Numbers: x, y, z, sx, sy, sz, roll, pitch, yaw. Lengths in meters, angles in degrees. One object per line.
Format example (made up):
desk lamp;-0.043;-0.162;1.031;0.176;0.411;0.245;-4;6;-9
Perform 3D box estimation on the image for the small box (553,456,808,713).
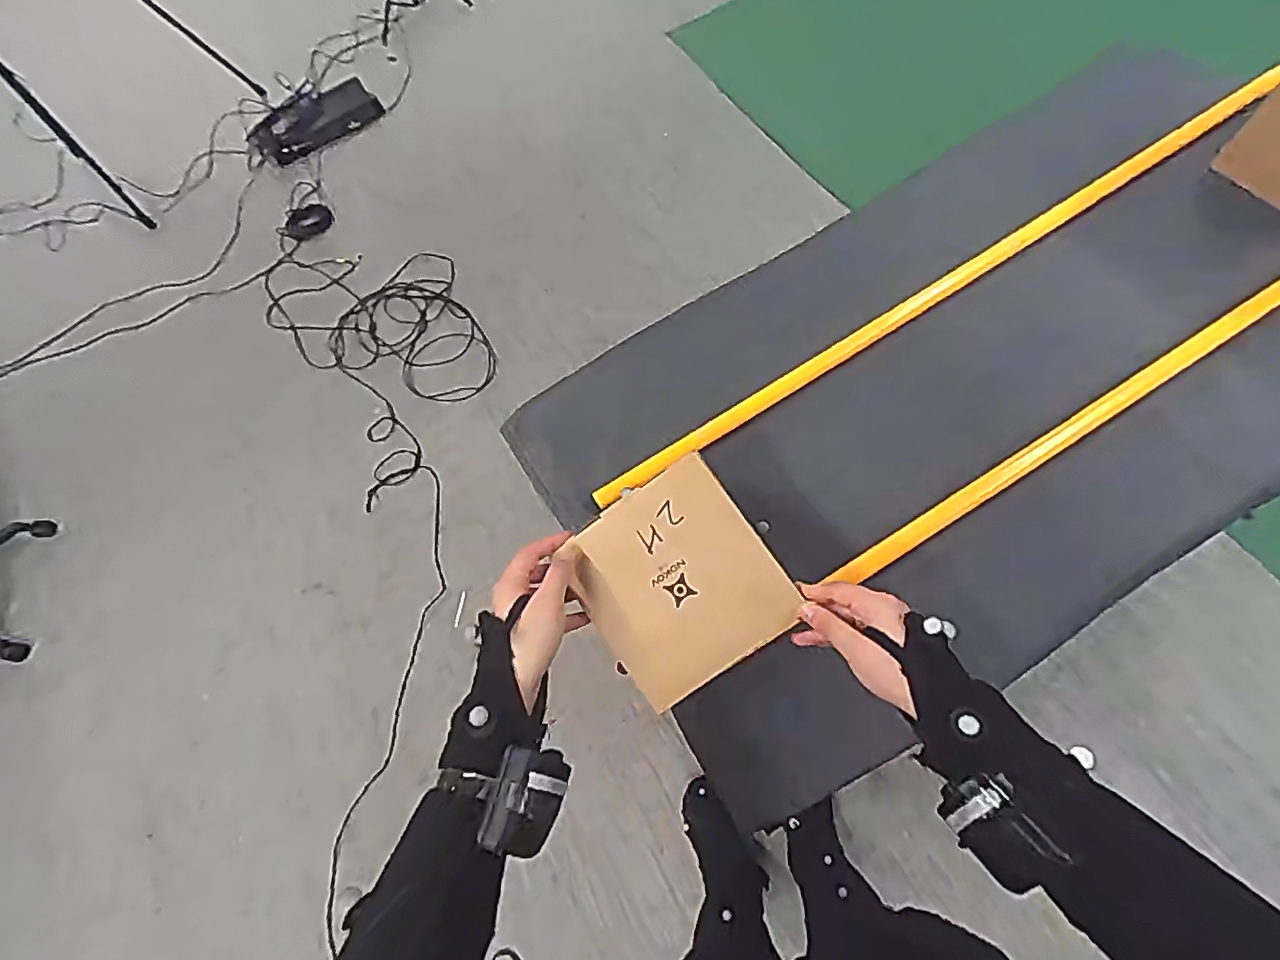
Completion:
small box;0.041;0.094;0.558;0.168;0.176;0.179;-36;85;3
